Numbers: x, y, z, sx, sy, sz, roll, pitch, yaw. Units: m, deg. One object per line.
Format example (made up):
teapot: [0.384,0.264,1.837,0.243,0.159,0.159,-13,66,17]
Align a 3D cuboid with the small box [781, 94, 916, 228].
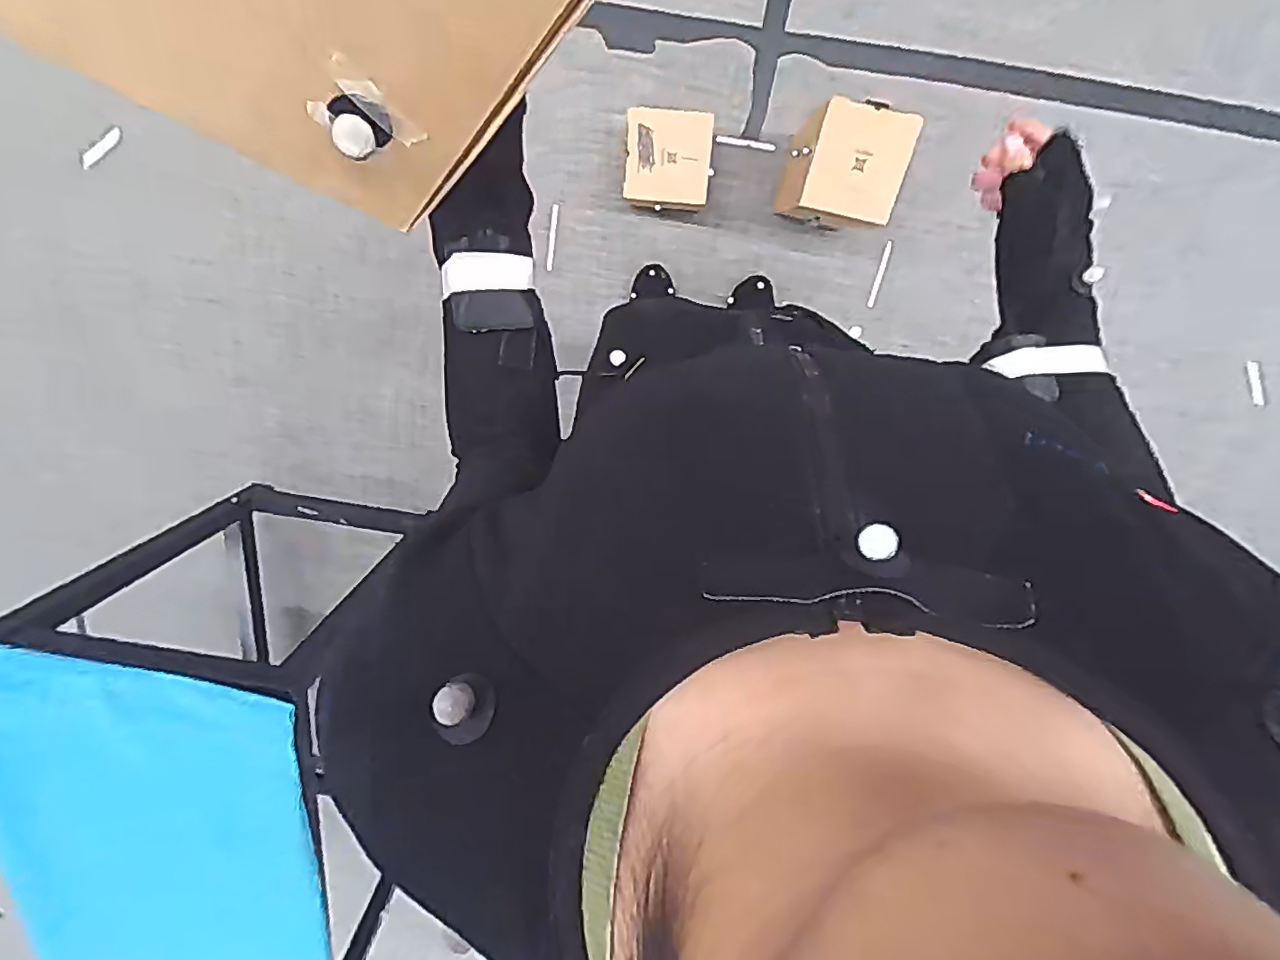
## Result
small box: [0.384,-0.597,1.035,0.168,0.176,0.179,13,113,-2]

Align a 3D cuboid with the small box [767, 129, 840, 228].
small box: [0.399,-0.661,1.184,0.179,0.176,0.168,13,112,-4]

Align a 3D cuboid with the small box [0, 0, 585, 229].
small box: [-0.122,-0.238,0.185,0.179,0.168,0.176,-24,155,39]

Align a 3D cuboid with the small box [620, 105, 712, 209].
small box: [0.054,-0.695,1.182,0.179,0.176,0.168,5,113,-1]
